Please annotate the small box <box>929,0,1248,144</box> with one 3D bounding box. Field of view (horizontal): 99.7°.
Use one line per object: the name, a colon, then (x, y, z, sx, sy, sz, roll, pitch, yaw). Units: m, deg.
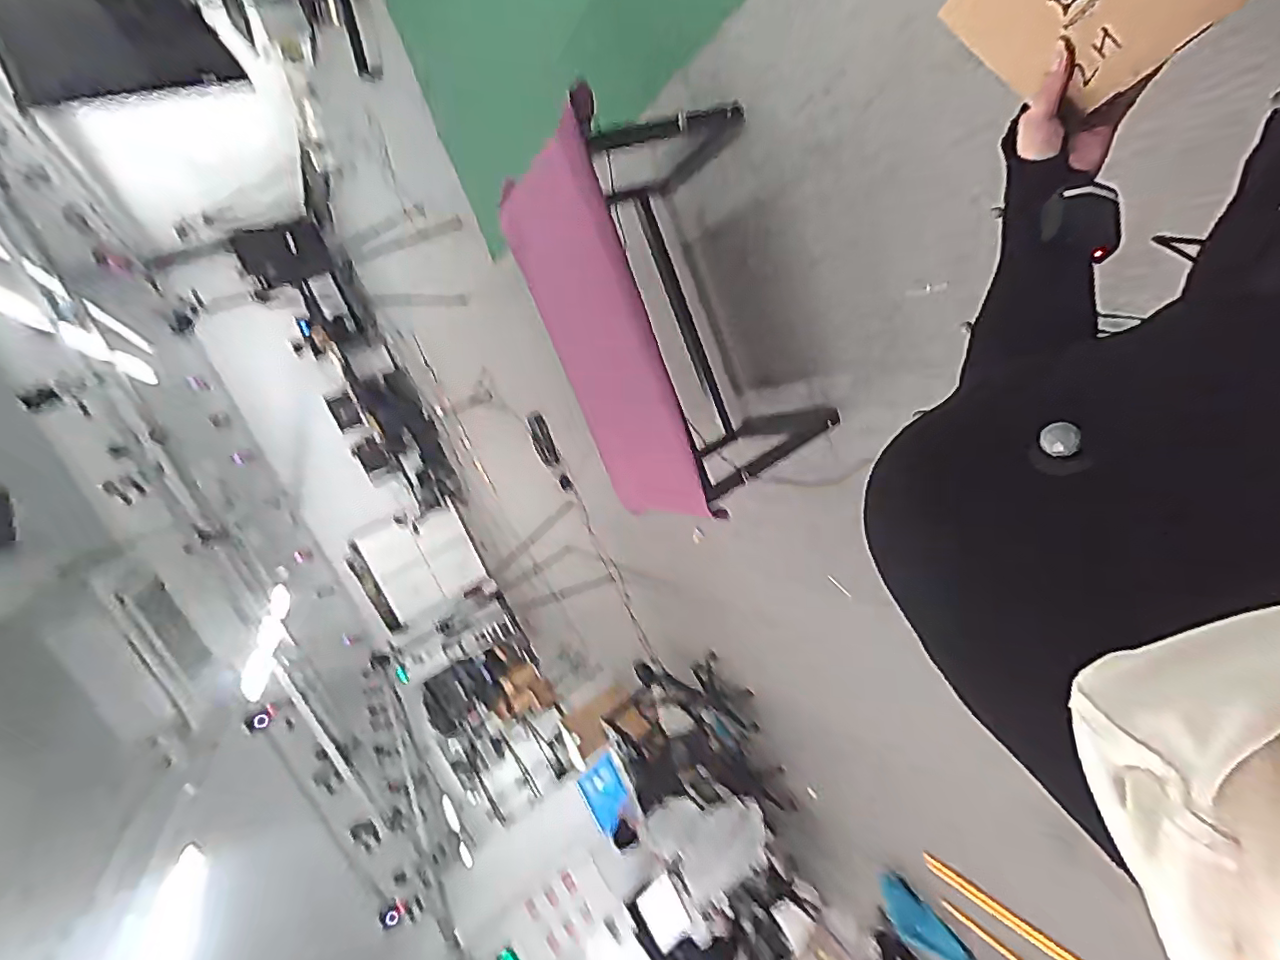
small box: (0.404, -0.451, 0.459, 0.179, 0.176, 0.168, 39, 177, -4)
